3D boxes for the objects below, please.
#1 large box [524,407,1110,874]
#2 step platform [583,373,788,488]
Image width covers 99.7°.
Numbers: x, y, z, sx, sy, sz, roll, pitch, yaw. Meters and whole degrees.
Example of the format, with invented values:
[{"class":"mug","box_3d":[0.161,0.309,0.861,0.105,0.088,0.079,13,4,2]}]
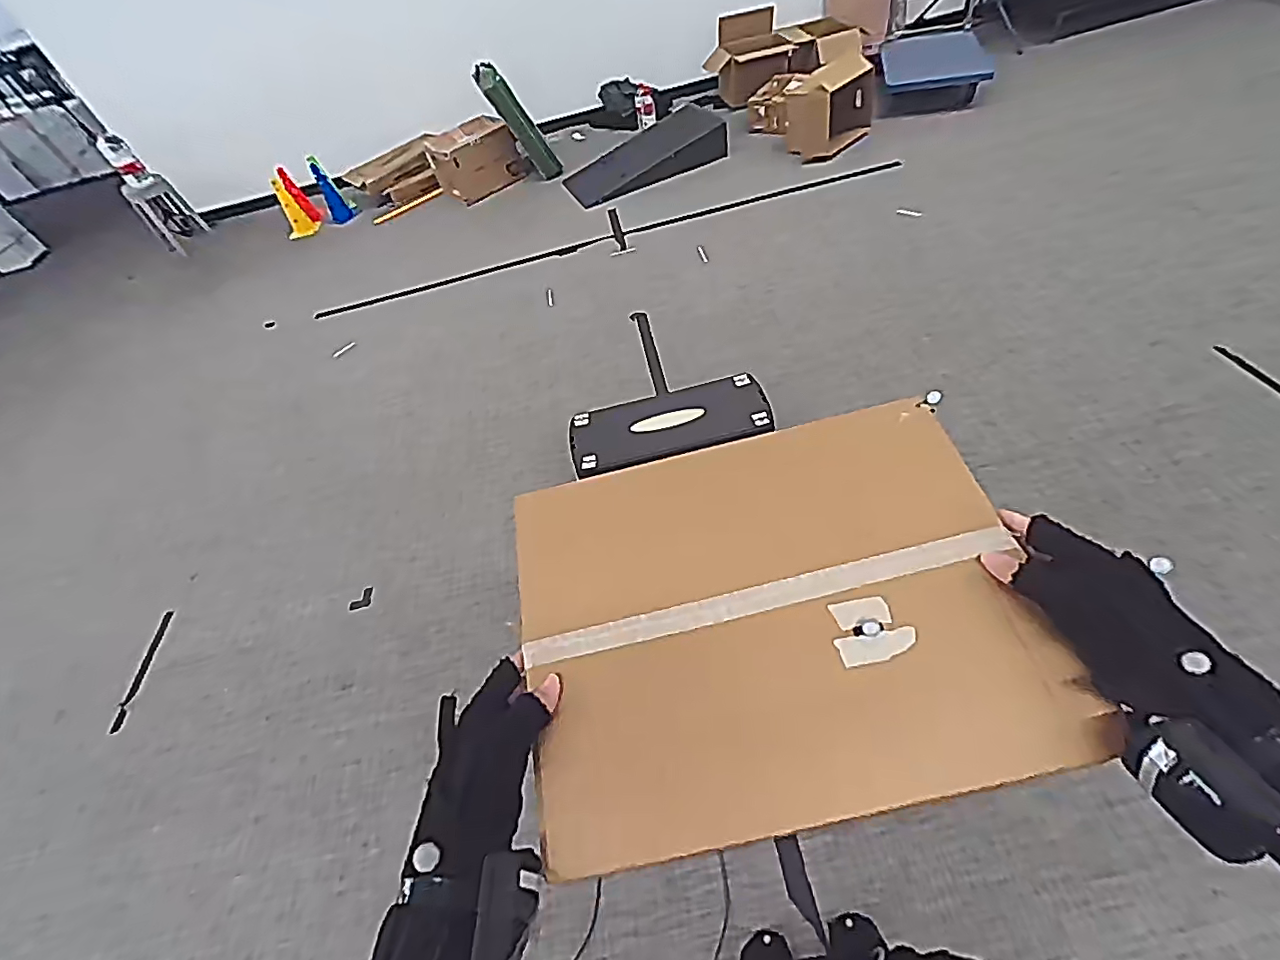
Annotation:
[{"class":"large box","box_3d":[0.126,0.179,0.579,0.408,0.320,0.320,-14,58,2]},{"class":"step platform","box_3d":[0.149,-0.142,1.855,0.684,0.204,0.286,-14,50,0]}]
